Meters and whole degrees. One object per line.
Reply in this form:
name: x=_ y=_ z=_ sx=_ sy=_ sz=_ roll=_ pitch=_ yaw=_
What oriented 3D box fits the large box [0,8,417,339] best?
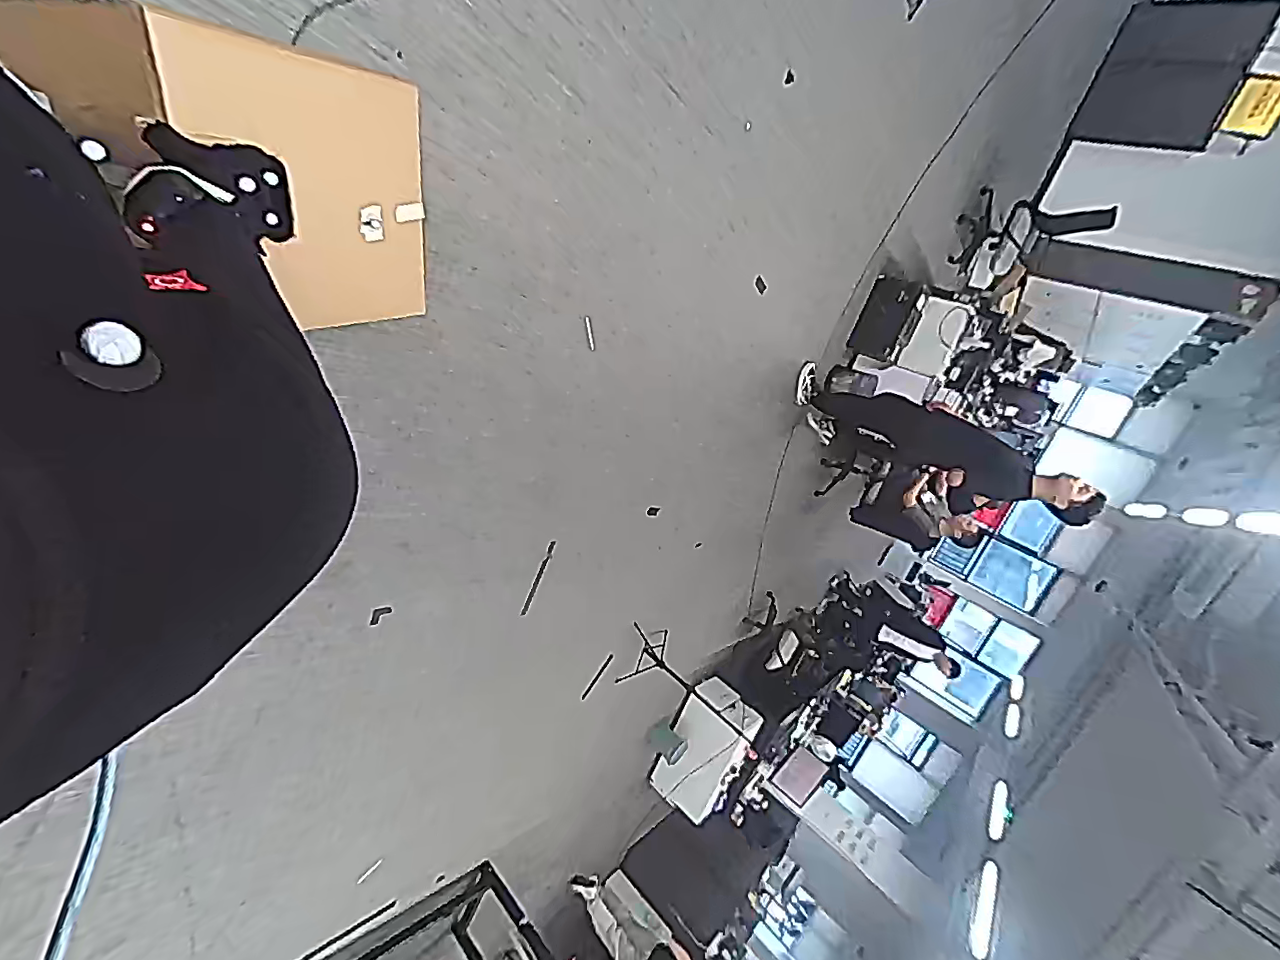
large box: x=-0.580 y=-0.416 z=0.759 sx=0.320 sy=0.408 sz=0.320 roll=-35 pitch=141 yaw=-53
